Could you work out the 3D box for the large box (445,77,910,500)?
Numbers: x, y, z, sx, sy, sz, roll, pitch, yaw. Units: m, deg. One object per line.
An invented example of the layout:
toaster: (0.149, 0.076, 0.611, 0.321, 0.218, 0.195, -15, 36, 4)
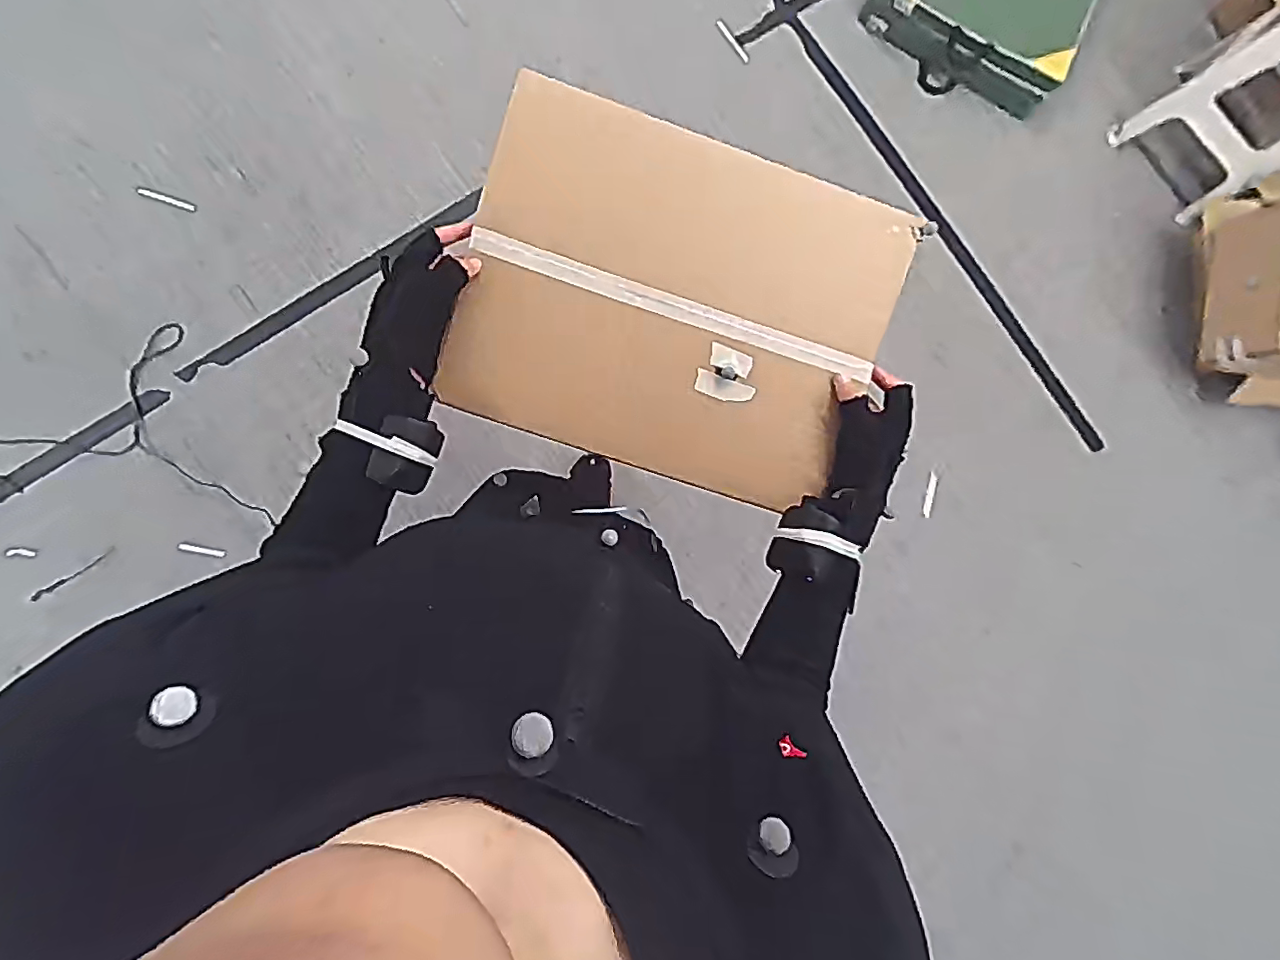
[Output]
large box: (0.028, -0.195, 0.683, 0.408, 0.320, 0.320, 18, 96, -5)
